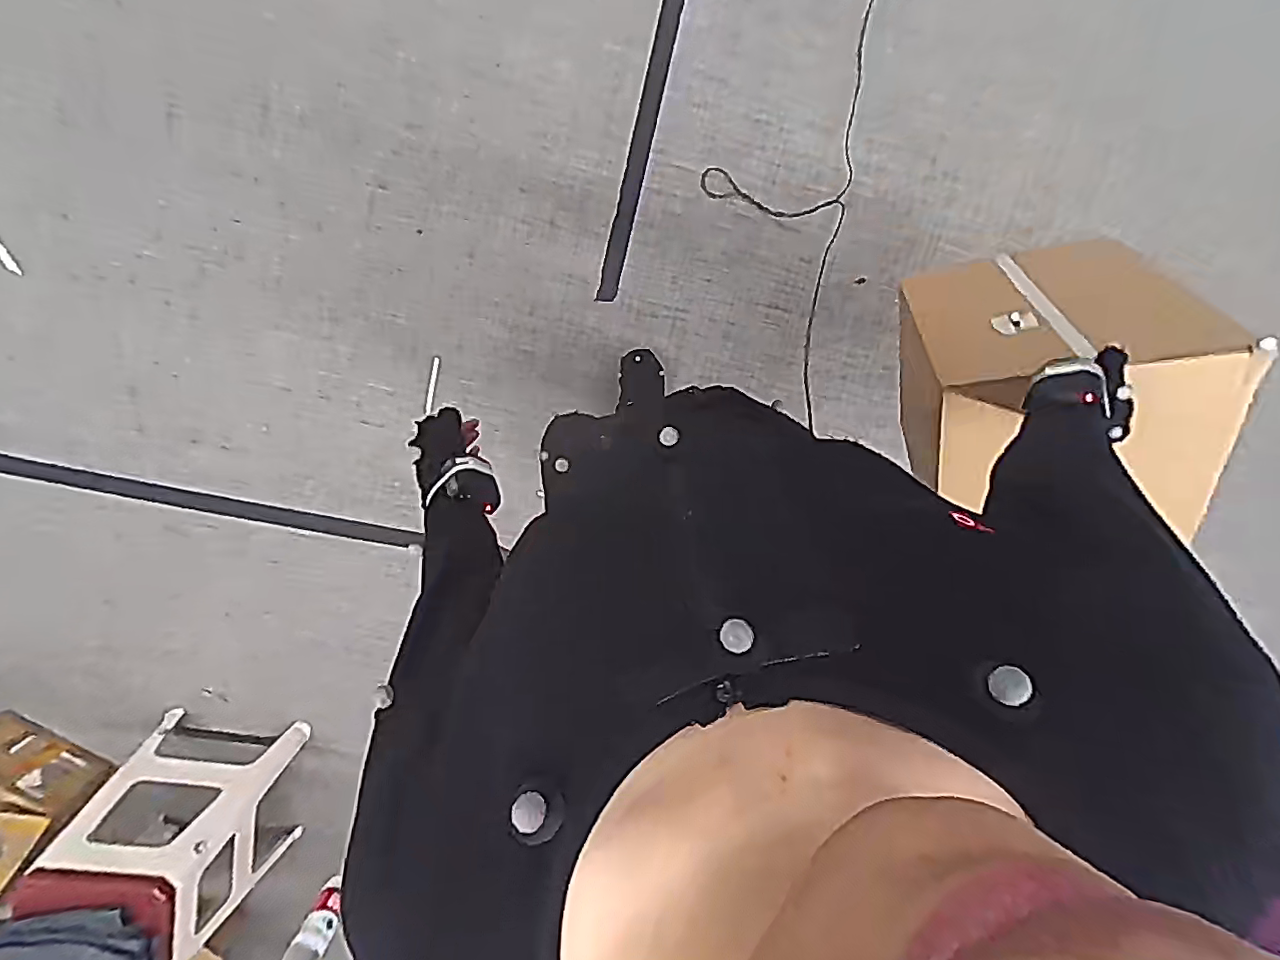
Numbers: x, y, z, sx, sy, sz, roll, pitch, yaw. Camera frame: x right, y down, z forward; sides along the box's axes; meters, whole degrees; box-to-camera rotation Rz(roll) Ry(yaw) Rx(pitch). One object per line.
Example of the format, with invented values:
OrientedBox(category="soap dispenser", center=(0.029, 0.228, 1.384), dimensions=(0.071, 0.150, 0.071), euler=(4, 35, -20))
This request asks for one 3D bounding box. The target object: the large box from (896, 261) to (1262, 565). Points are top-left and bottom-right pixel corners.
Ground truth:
OrientedBox(category="large box", center=(0.615, -0.113, 0.874), dimensions=(0.320, 0.408, 0.320), euler=(-4, 128, 19))
